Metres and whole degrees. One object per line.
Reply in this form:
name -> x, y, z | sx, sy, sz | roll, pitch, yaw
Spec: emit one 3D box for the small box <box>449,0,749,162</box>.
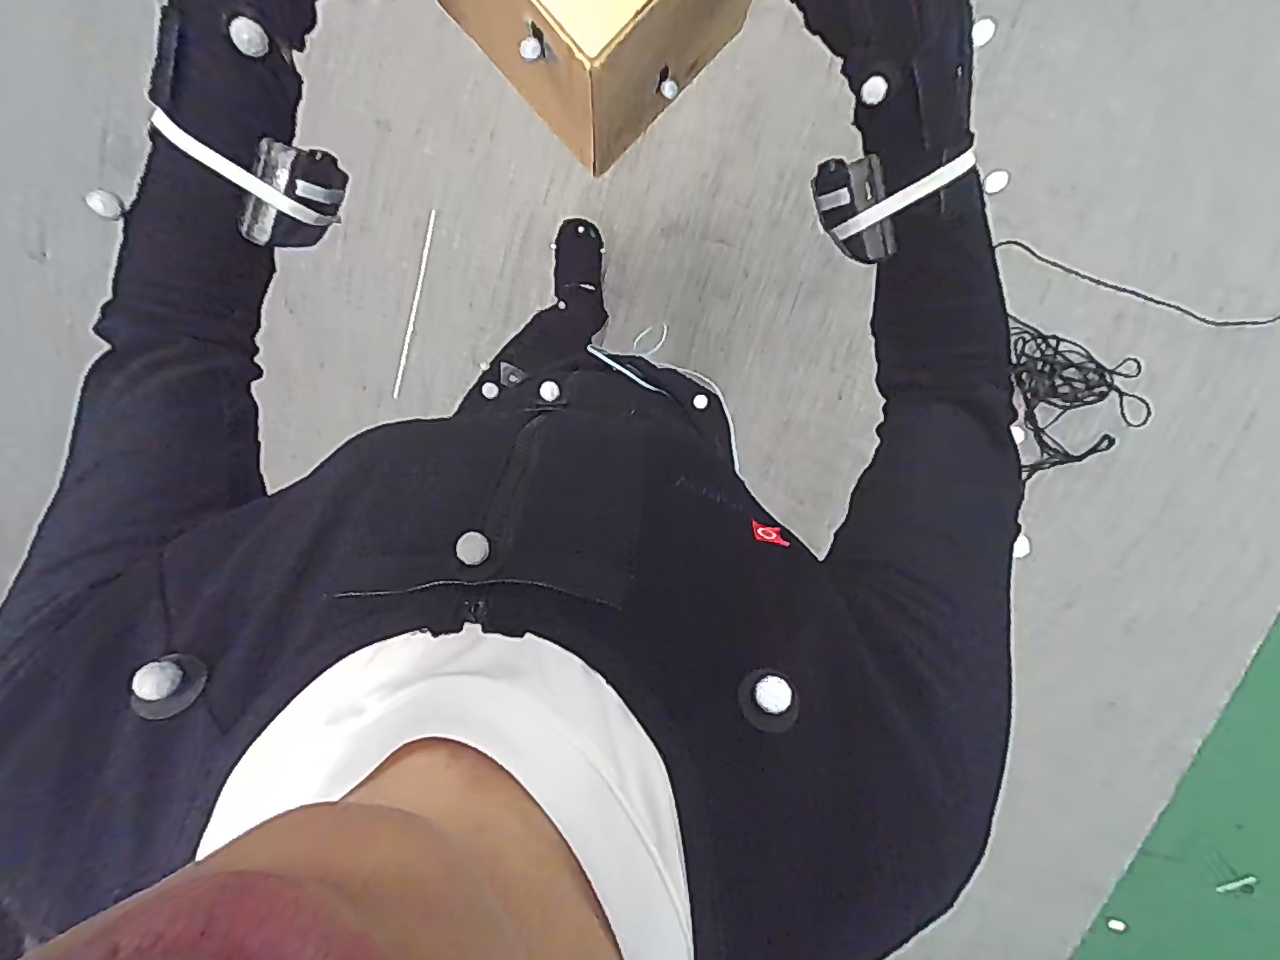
small box -> -0.031, -0.353, 0.347 | 0.168, 0.176, 0.179 | -43, 103, 4
